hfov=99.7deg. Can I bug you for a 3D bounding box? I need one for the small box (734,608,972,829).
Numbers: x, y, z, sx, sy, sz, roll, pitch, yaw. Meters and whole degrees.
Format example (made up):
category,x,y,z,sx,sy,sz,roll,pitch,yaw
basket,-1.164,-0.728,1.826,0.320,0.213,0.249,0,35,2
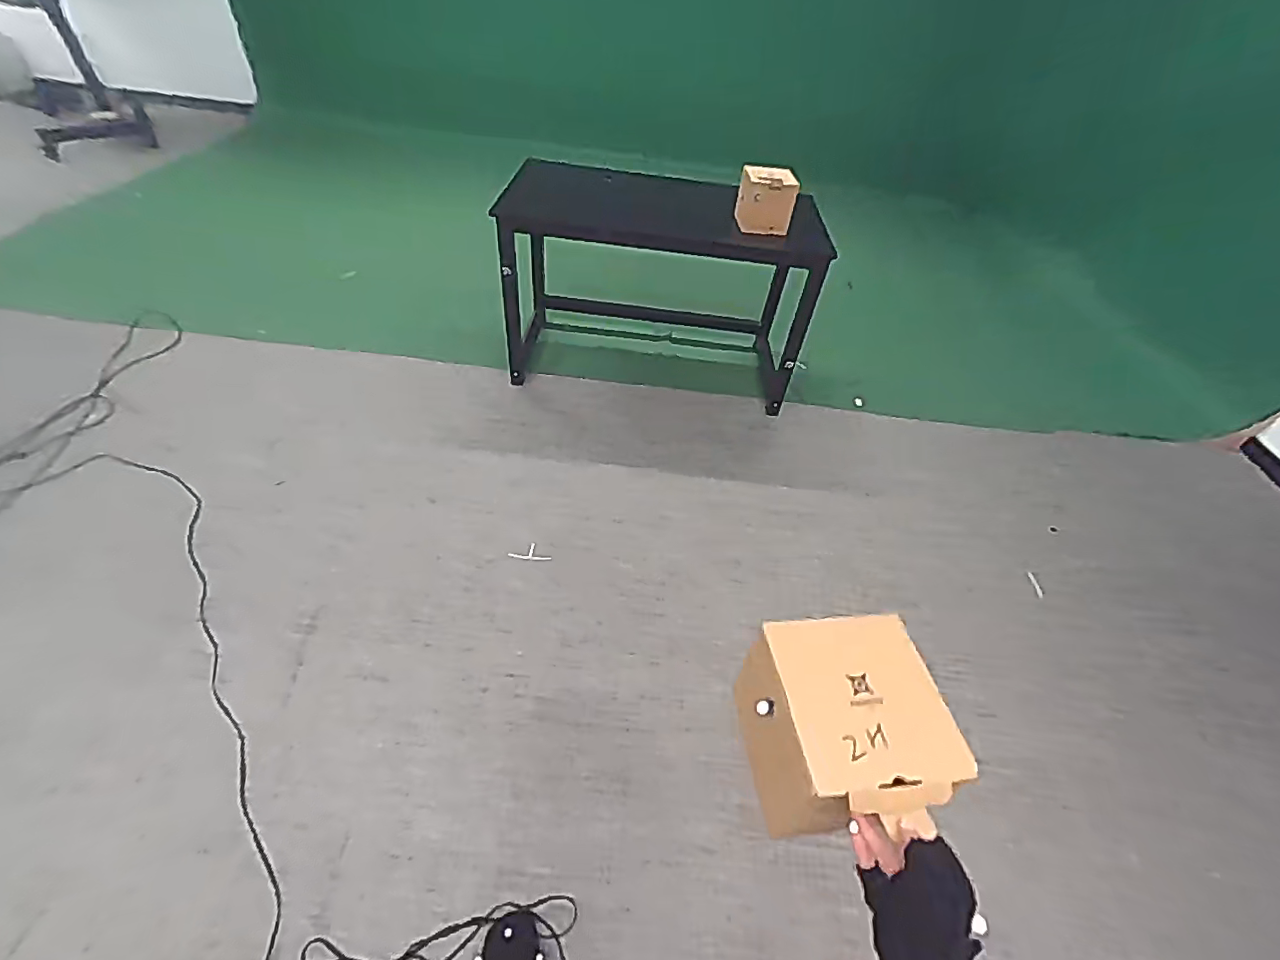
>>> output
category,x,y,z,sx,sy,sz,roll,pitch,yaw
small box,0.216,0.267,0.612,0.168,0.176,0.179,-1,46,-8
